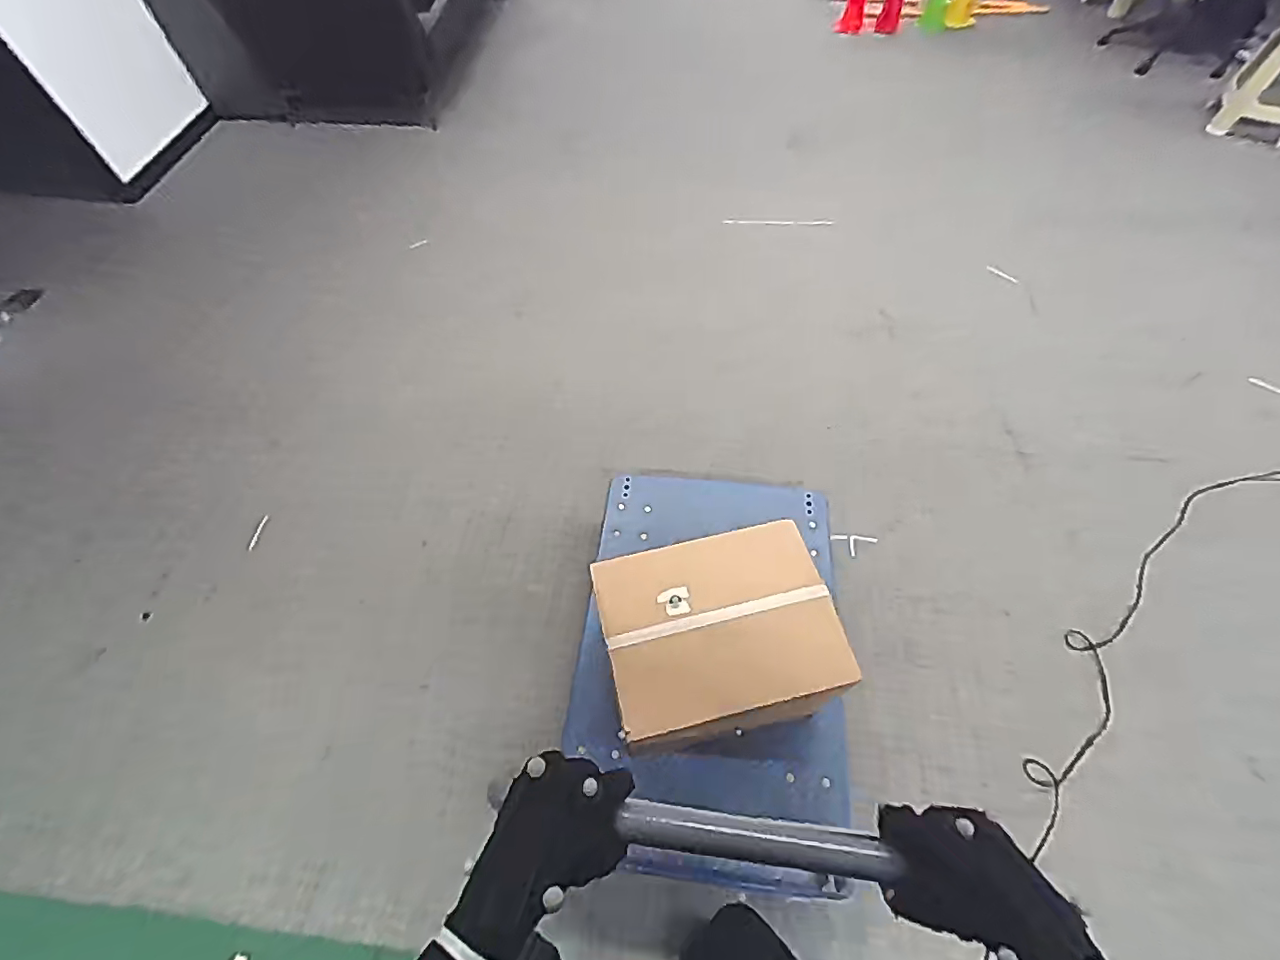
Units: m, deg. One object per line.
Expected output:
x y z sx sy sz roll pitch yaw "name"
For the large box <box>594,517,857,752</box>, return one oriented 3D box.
0.146 0.319 1.087 0.408 0.320 0.320 -13 57 -5 "large box"
